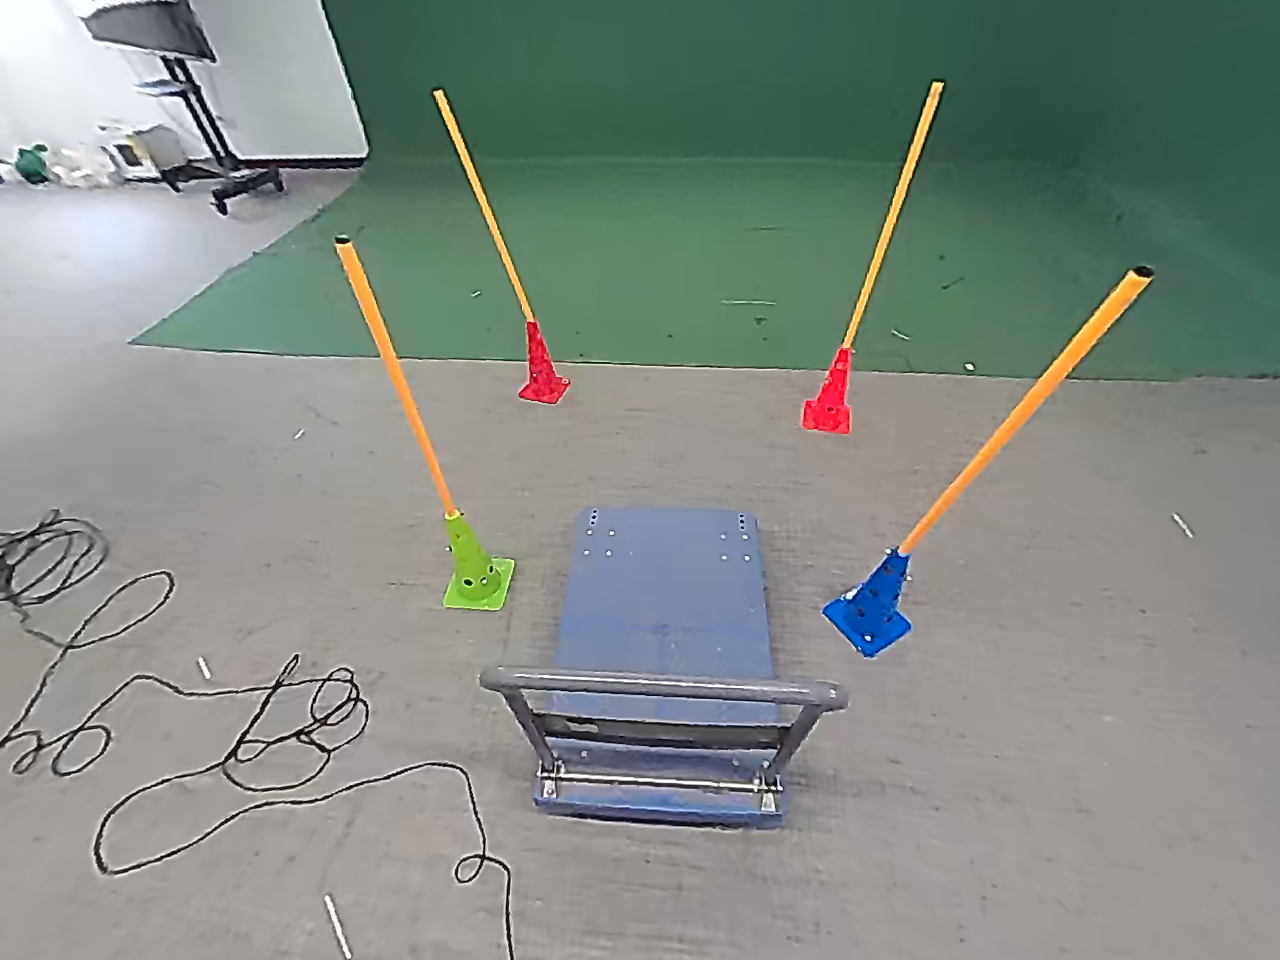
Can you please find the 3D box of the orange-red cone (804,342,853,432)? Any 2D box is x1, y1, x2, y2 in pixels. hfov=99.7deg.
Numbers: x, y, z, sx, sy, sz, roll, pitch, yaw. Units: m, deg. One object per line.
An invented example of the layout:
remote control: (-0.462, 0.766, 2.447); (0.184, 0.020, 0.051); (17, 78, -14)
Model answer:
orange-red cone: (0.808, -0.399, 2.218); (0.198, 0.360, 0.199); (11, 48, 14)
